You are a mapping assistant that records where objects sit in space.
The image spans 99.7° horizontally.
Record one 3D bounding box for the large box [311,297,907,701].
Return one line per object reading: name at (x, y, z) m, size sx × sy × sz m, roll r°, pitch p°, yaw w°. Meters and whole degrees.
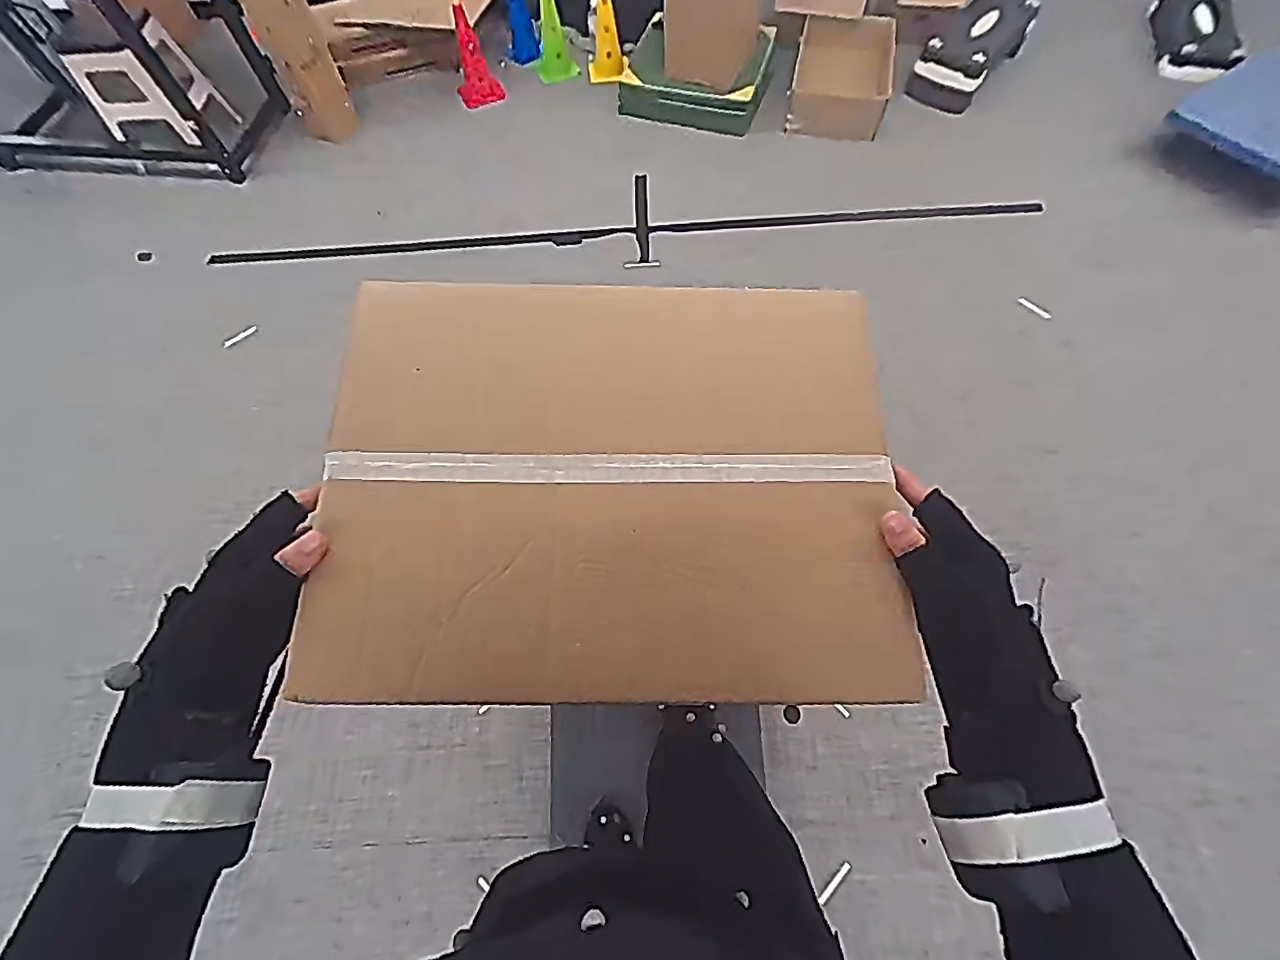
large box at (-0.021, 0.042, 0.543) m, size 0.408 × 0.320 × 0.320 m, roll 1°, pitch 71°, yaw -2°
